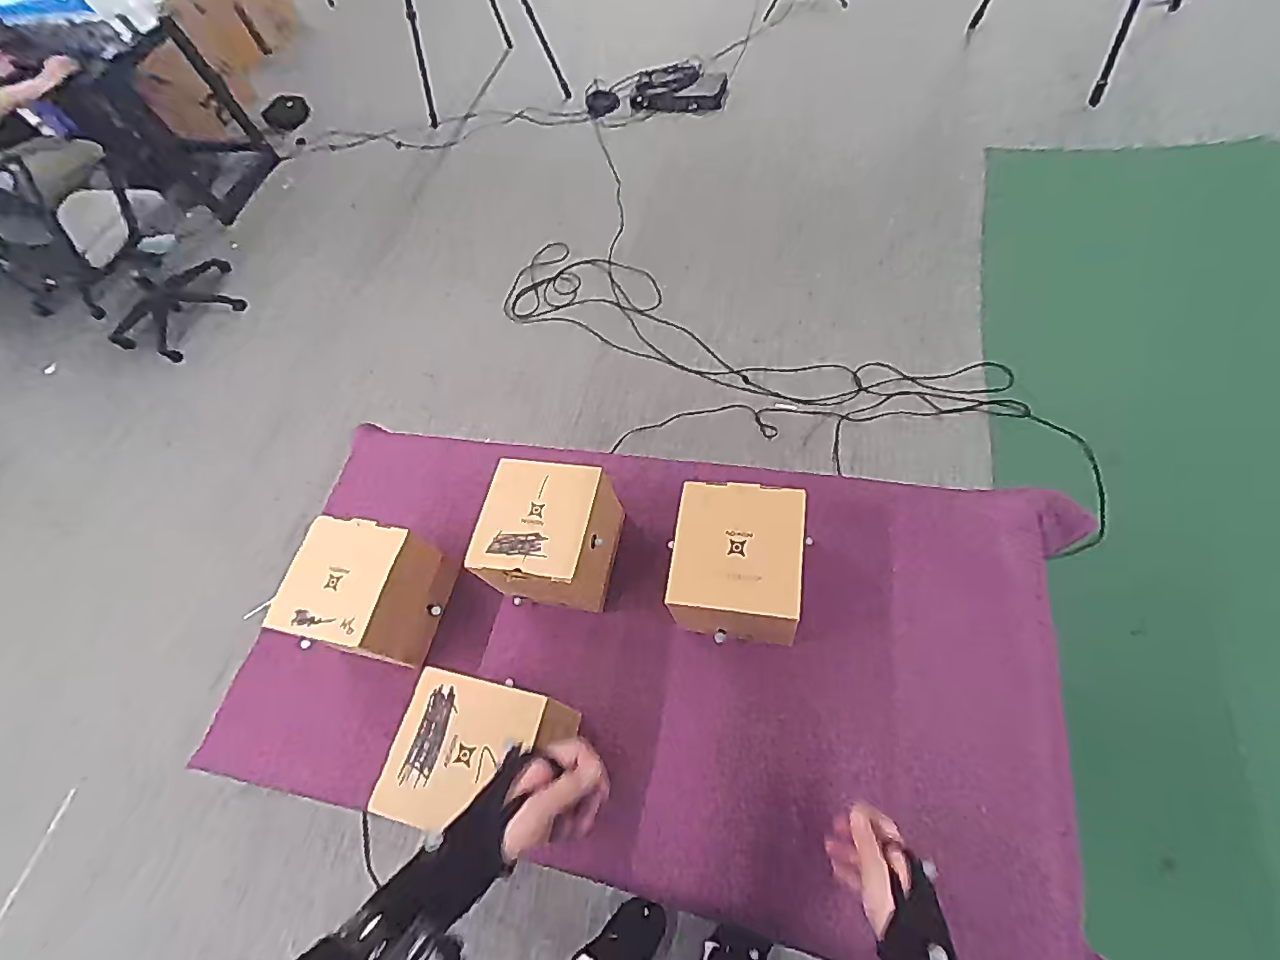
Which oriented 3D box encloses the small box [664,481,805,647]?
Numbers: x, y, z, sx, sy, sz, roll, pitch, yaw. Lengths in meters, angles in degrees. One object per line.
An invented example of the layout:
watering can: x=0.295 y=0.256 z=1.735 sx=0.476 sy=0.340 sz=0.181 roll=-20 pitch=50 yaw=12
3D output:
small box: x=0.138 y=0.122 z=0.768 sx=0.168 sy=0.176 sz=0.179 roll=5 pitch=64 yaw=15

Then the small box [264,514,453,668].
small box: x=-0.420 y=0.176 z=0.844 sx=0.168 sy=0.176 sz=0.179 roll=7 pitch=63 yaw=16

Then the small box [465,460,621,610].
small box: x=-0.136 y=0.090 z=0.838 sx=0.168 sy=0.176 sz=0.179 roll=6 pitch=62 yaw=14
